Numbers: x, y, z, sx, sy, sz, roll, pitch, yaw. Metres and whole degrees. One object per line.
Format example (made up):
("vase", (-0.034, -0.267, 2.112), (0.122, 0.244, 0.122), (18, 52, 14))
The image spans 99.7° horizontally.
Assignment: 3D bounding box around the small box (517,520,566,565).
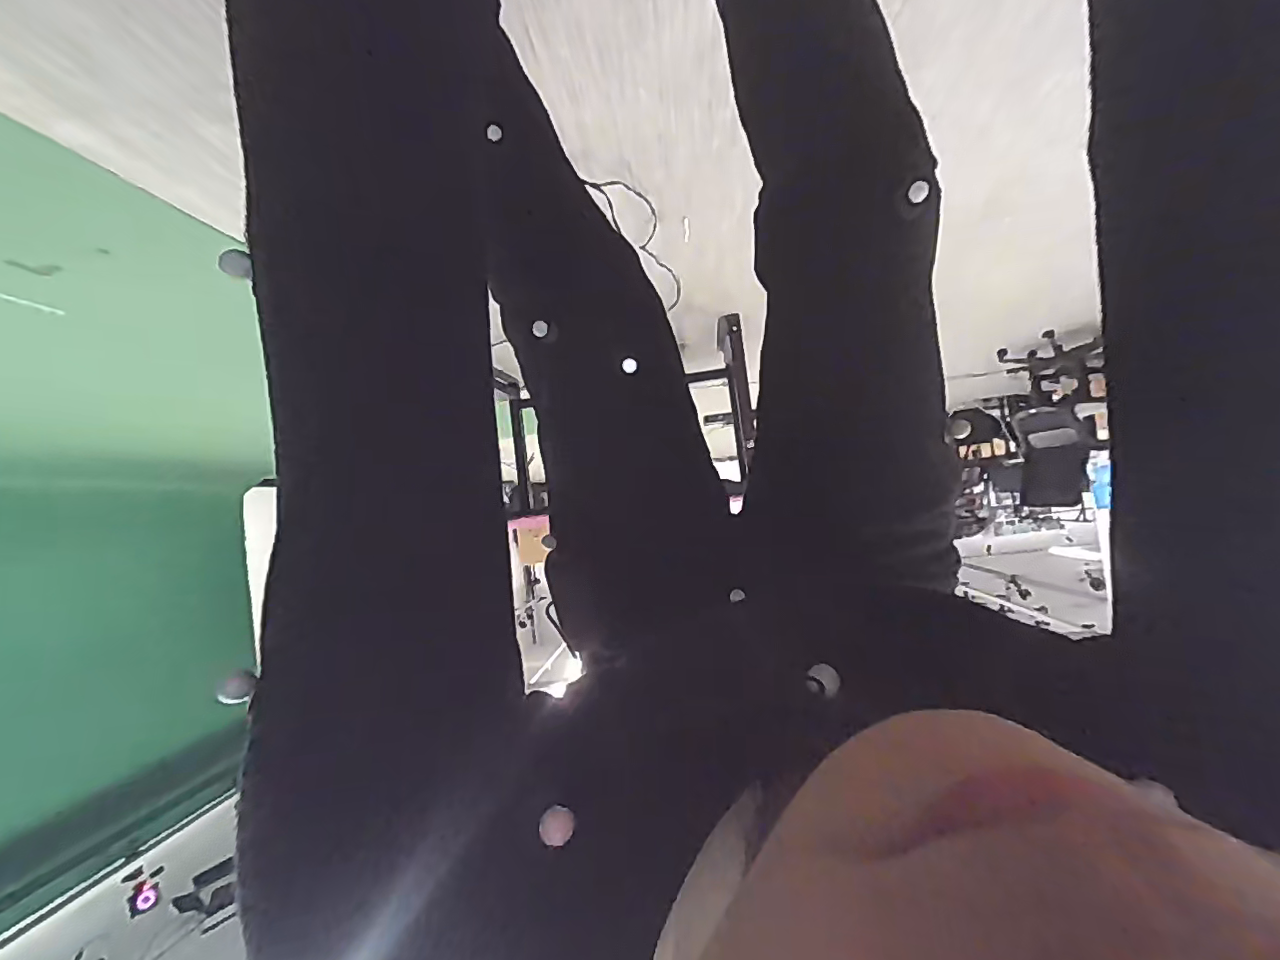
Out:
("small box", (-0.426, 0.270, 2.362), (0.168, 0.176, 0.179), (-8, 179, 4))
